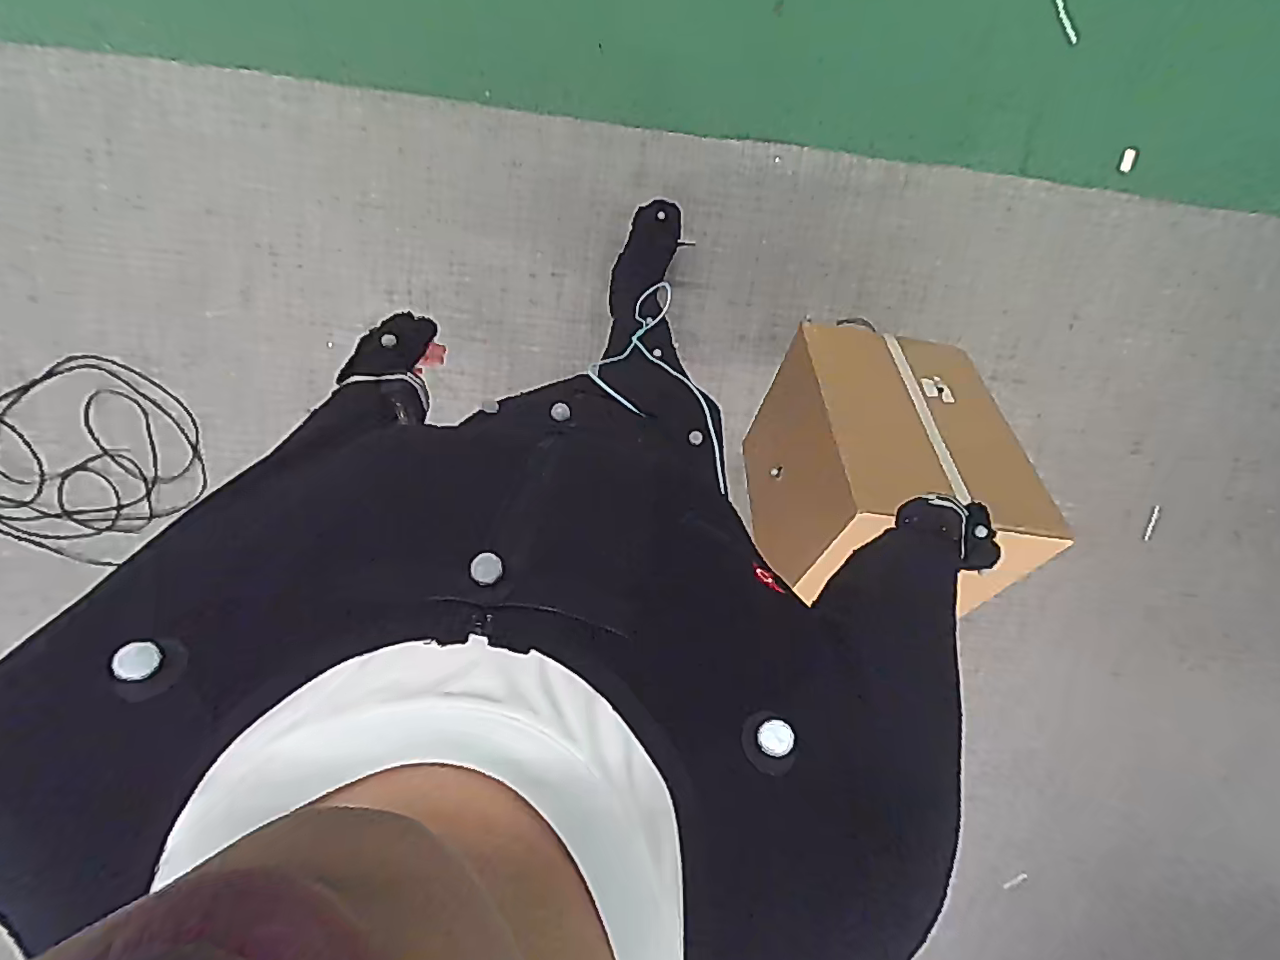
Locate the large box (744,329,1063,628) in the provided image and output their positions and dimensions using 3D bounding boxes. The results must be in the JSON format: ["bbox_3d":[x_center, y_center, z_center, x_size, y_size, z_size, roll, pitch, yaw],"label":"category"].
[{"bbox_3d":[0.395,0.002,0.942,0.320,0.408,0.320,9,139,-9],"label":"large box"}]
